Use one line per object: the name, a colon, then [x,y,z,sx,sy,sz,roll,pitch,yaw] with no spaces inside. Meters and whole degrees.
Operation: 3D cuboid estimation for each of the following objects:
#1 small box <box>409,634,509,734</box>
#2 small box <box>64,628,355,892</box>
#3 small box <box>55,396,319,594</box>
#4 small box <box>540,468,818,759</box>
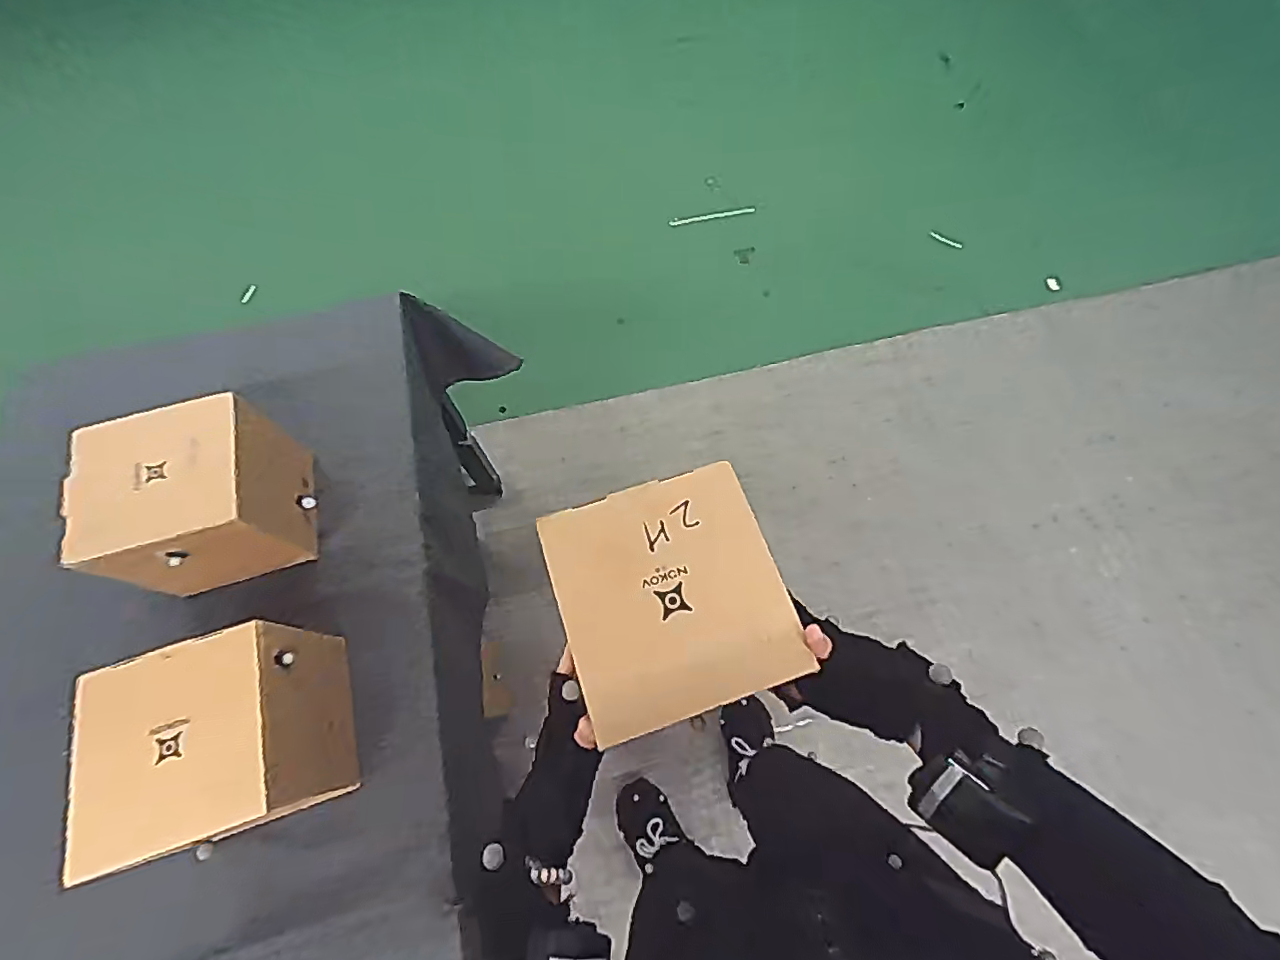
small box: [-0.414,0.473,1.254,0.168,0.176,0.179,-15,69,-6]
small box: [-0.418,0.269,0.554,0.168,0.176,0.179,-18,68,-6]
small box: [-0.526,0.028,0.654,0.179,0.176,0.168,-16,69,-6]
small box: [0.025,0.117,0.471,0.168,0.176,0.179,-17,68,-7]
